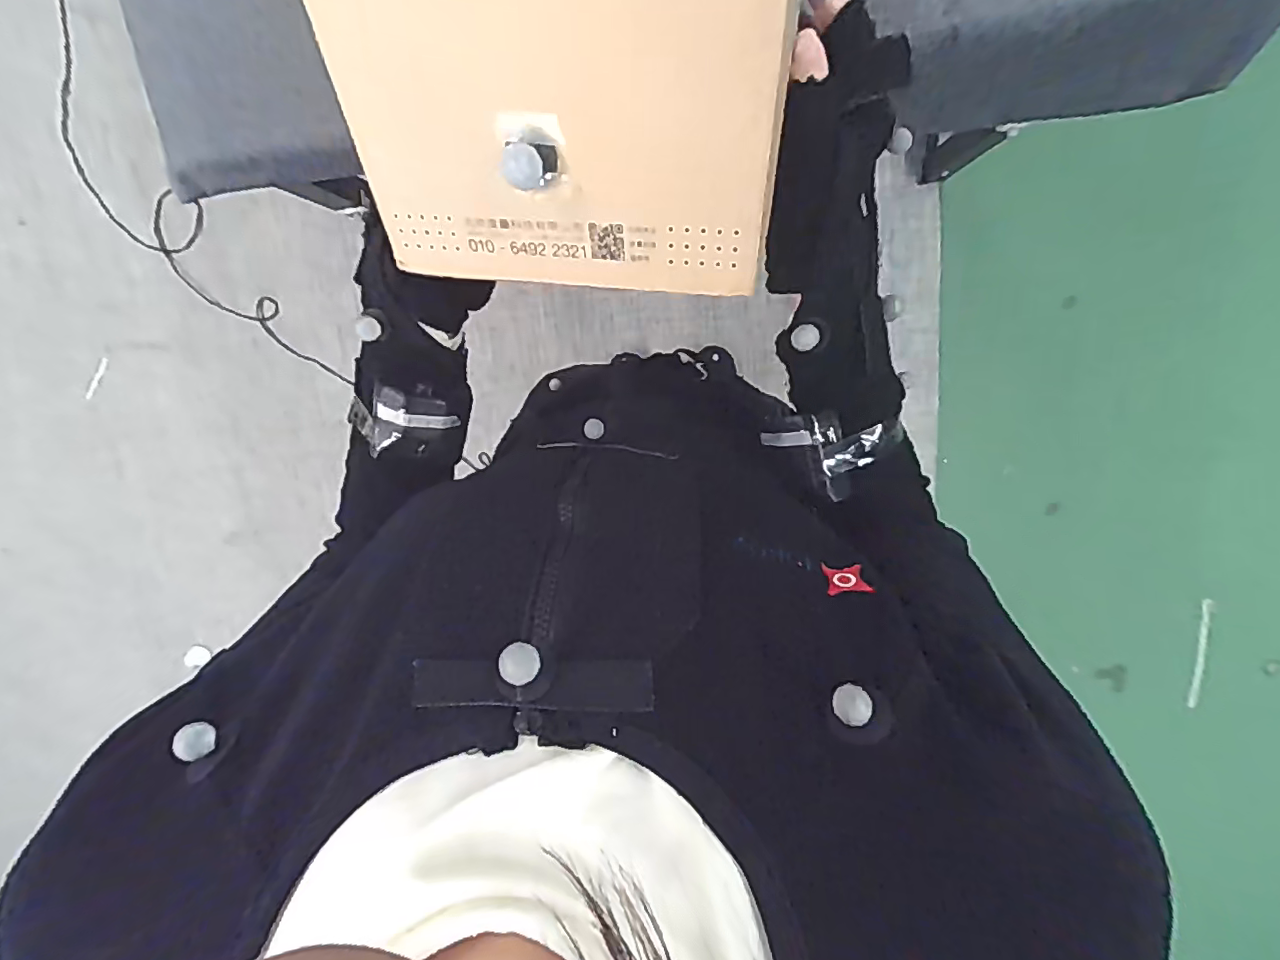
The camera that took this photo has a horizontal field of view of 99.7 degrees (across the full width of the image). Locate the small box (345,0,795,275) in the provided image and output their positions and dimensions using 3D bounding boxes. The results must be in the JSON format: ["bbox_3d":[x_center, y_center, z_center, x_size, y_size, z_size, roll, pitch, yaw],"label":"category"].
[{"bbox_3d":[-0.017,-0.215,0.241,0.168,0.179,0.176,9,138,10],"label":"small box"}]
